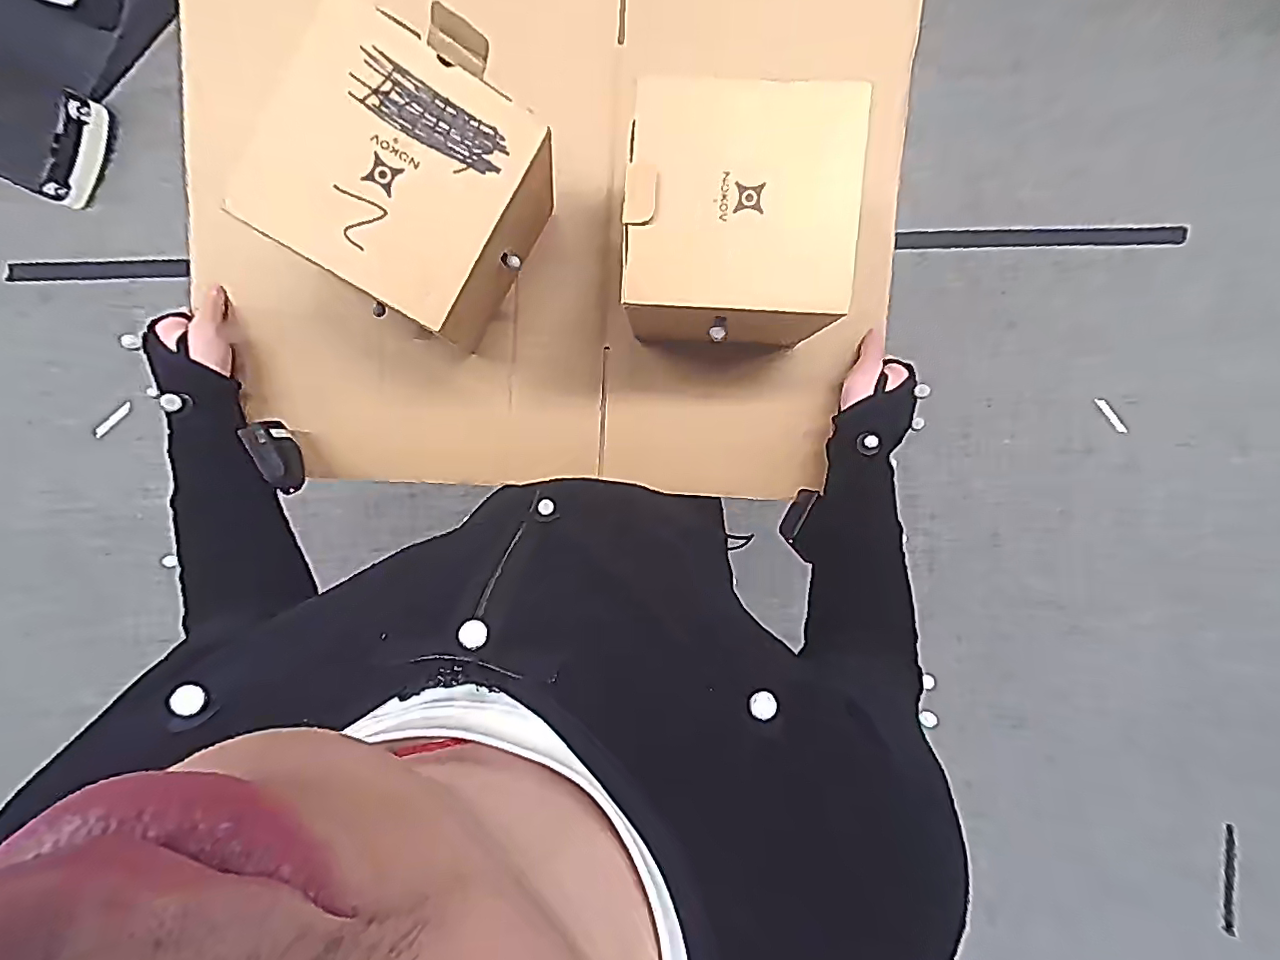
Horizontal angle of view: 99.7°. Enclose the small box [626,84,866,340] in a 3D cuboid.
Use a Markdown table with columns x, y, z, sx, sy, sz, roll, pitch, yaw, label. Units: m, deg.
| x | y | z | sx | sy | sz | roll | pitch | yaw | label |
| --- | --- | --- | --- | --- | --- | --- | --- | --- | --- |
| 0.084 | -0.226 | 0.499 | 0.179 | 0.176 | 0.168 | 3 | 97 | 4 | small box |
